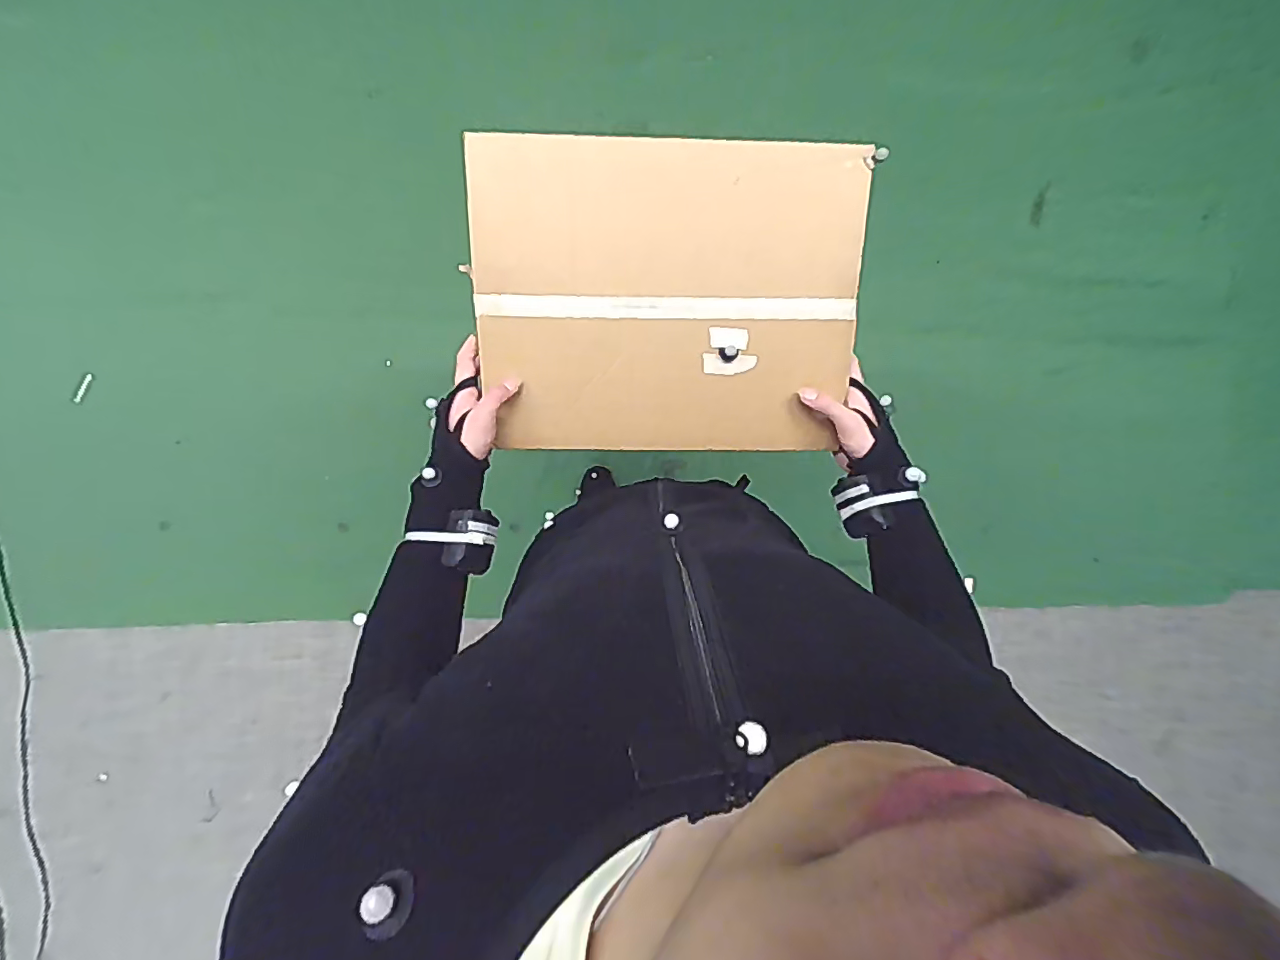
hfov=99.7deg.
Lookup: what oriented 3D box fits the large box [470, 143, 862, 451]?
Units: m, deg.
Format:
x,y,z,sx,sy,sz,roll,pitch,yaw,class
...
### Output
x,y,z,sx,sy,sz,roll,pitch,yaw,class
0.021,-0.227,0.724,0.408,0.320,0.320,-1,107,-3,large box
